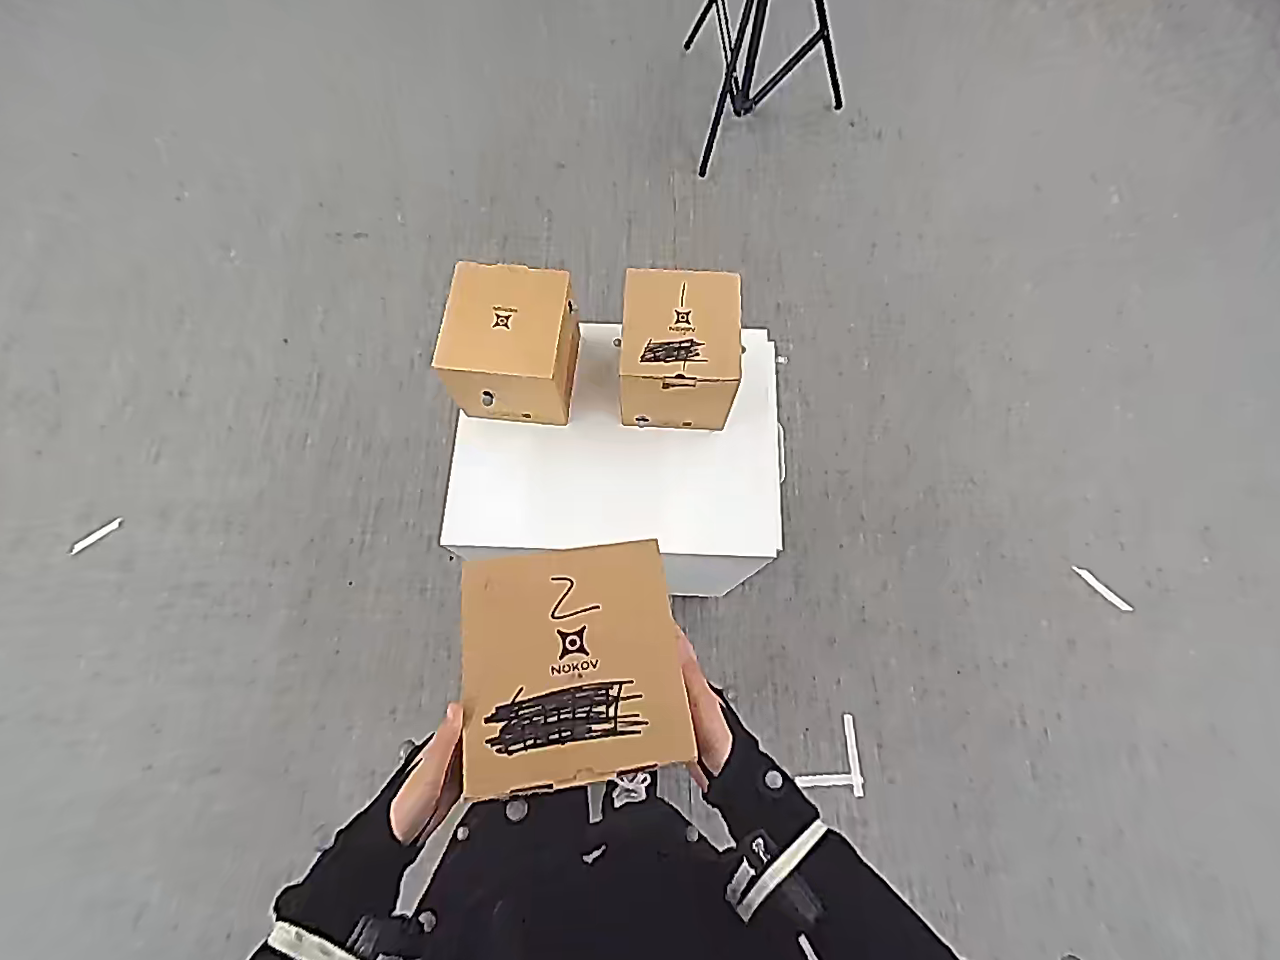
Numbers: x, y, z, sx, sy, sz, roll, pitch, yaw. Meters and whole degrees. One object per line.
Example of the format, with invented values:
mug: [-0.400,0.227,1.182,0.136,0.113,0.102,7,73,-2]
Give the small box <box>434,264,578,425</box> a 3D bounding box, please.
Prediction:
small box: [-0.189,-0.196,0.821,0.168,0.176,0.179,5,72,1]

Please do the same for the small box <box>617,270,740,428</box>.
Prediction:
small box: [0.057,-0.189,0.820,0.168,0.176,0.179,3,72,0]
